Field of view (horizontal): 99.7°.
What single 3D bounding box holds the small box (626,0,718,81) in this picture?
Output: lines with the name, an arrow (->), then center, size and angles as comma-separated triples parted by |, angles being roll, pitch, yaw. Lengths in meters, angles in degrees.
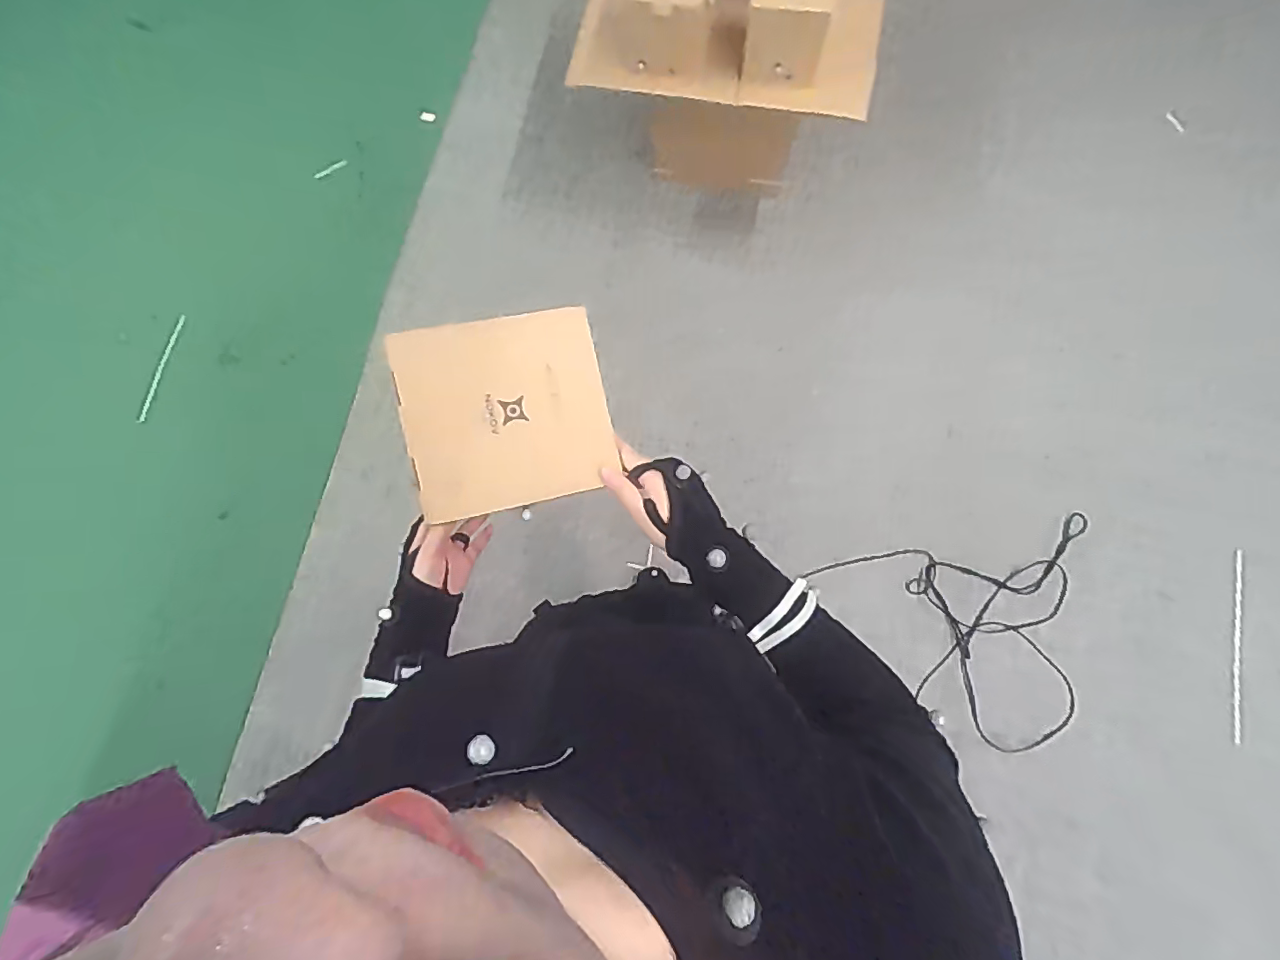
small box -> 0.077, -1.025, 1.186 | 0.168, 0.176, 0.179 | 13, 79, 7

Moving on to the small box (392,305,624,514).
small box -> -0.127, -0.060, 0.547 | 0.179, 0.176, 0.168 | -11, 90, -13
